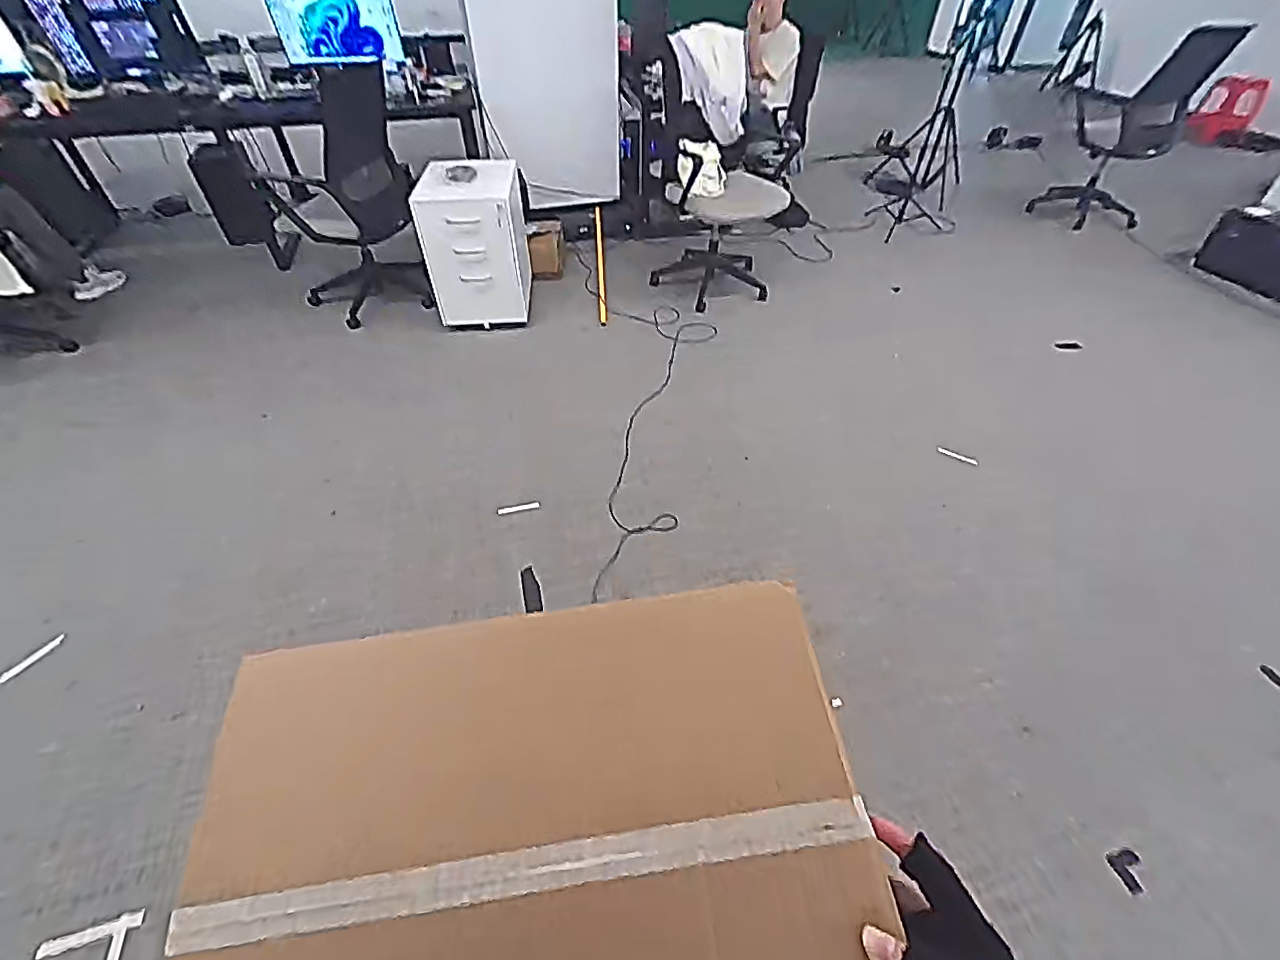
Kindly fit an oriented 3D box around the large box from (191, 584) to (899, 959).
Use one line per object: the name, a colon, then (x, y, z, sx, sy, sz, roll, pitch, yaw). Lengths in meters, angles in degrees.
large box: (-0.057, 0.317, 0.451, 0.408, 0.320, 0.320, -8, 57, -2)
